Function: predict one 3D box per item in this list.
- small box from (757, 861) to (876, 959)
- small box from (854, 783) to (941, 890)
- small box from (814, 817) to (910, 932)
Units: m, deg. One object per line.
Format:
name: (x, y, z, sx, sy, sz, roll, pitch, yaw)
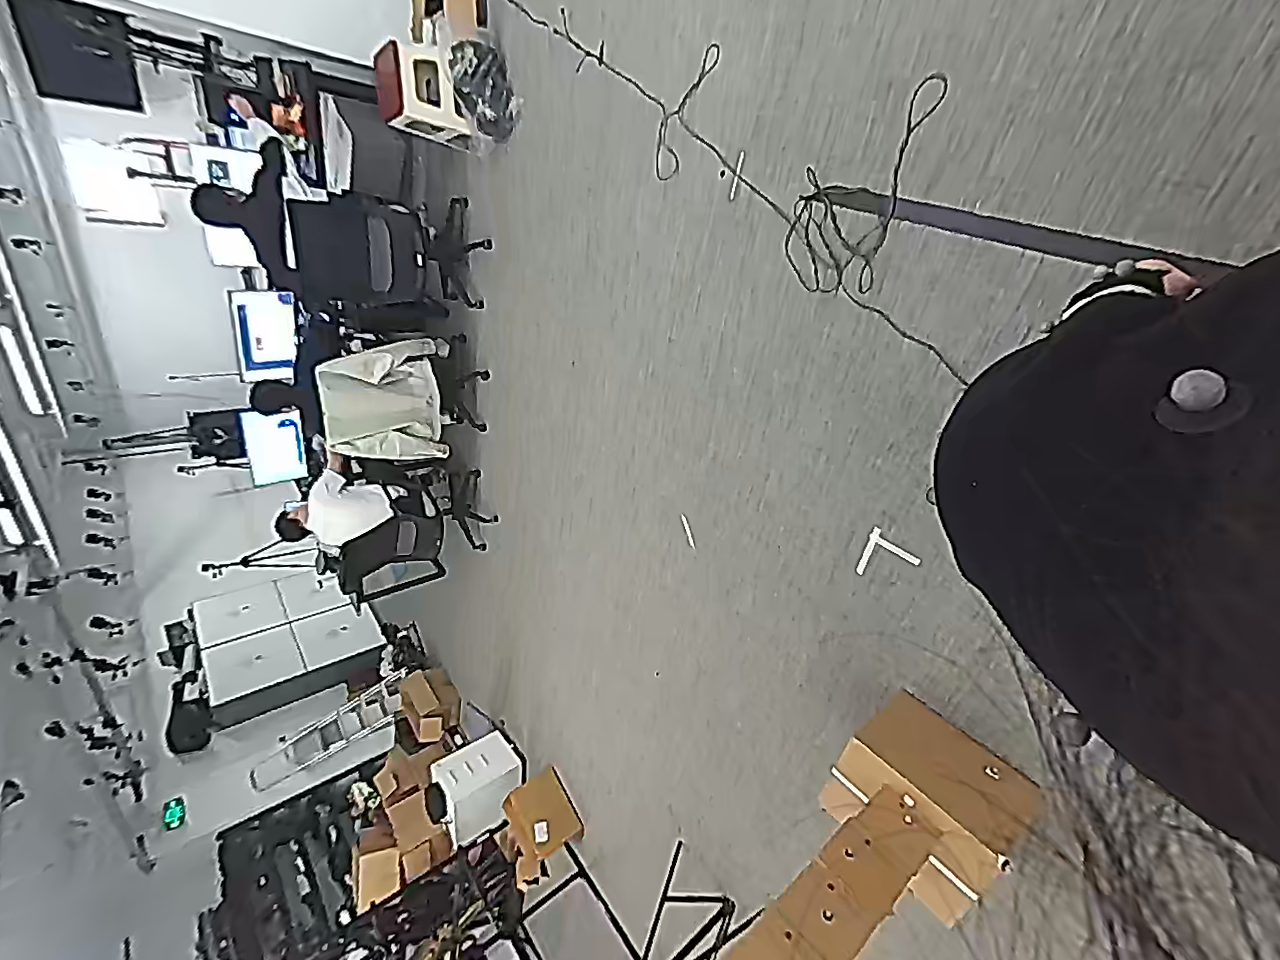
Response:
small box: (0.385, 0.988, 1.174, 0.168, 0.176, 0.179, 30, 123, 44)
small box: (0.632, 0.926, 1.378, 0.168, 0.176, 0.179, 35, 126, 39)
small box: (0.508, 0.951, 1.277, 0.168, 0.176, 0.179, 34, 127, 41)
